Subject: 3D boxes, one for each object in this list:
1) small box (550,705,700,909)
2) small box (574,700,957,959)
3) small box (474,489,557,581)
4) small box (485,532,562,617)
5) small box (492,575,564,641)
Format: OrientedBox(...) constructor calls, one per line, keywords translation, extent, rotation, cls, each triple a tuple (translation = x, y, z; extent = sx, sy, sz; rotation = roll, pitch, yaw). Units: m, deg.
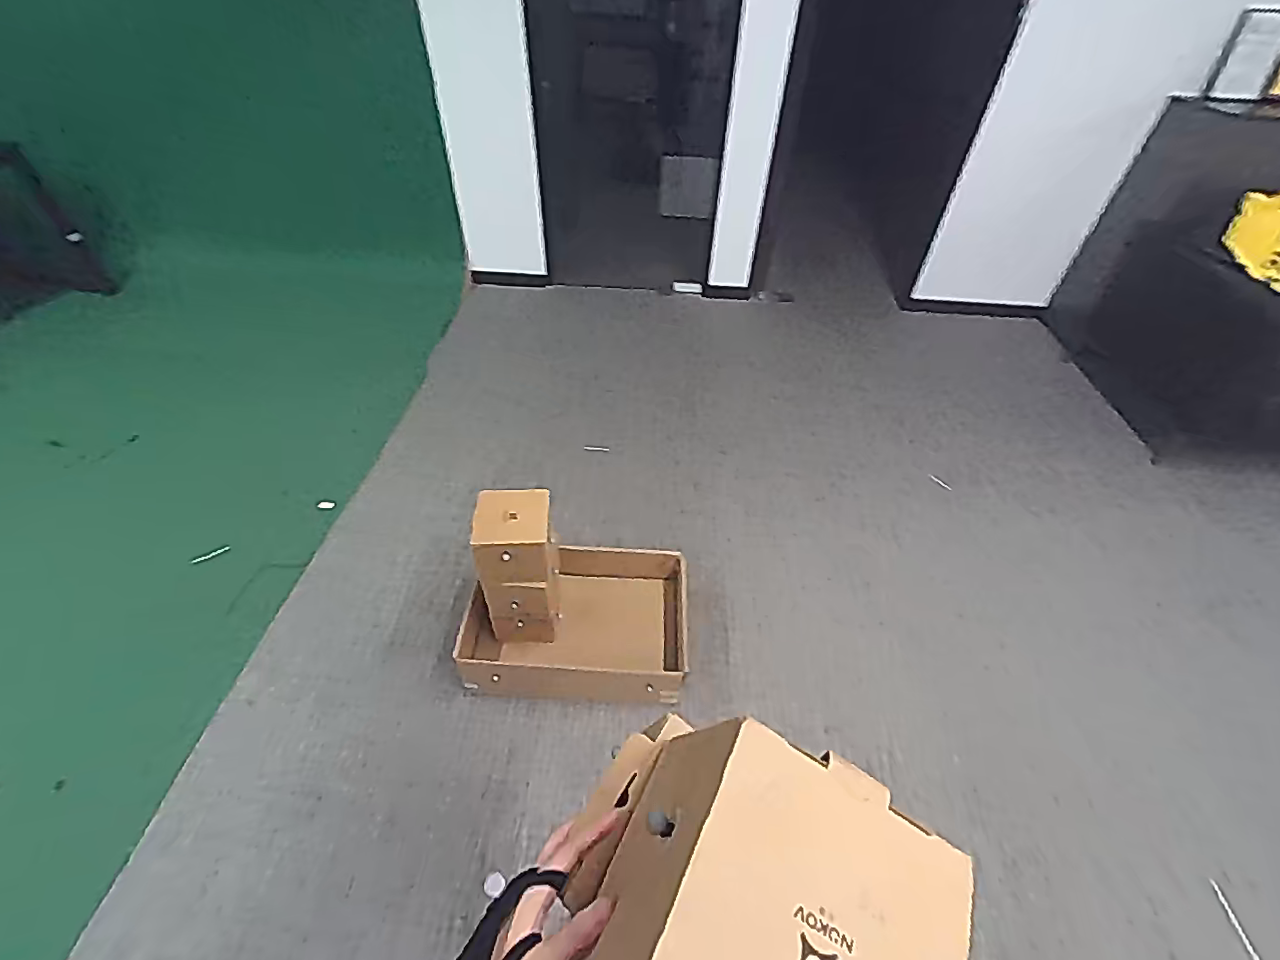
OrientedBox(translation=(0.033, 0.350, 0.512), extent=(0.179, 0.176, 0.168), rotation=(36, 56, 8), cls="small box")
OrientedBox(translation=(0.072, 0.283, 0.363), extent=(0.168, 0.176, 0.179), rotation=(32, 55, 4), cls="small box")
OrientedBox(translation=(-0.303, 0.139, 1.351), extent=(0.179, 0.176, 0.168), rotation=(-1, 48, -4), cls="small box")
OrientedBox(translation=(-0.307, 0.253, 1.466), extent=(0.168, 0.176, 0.179), rotation=(5, 47, 0), cls="small box")
OrientedBox(translation=(-0.323, 0.360, 1.590), extent=(0.179, 0.176, 0.168), rotation=(2, 46, -3), cls="small box")
